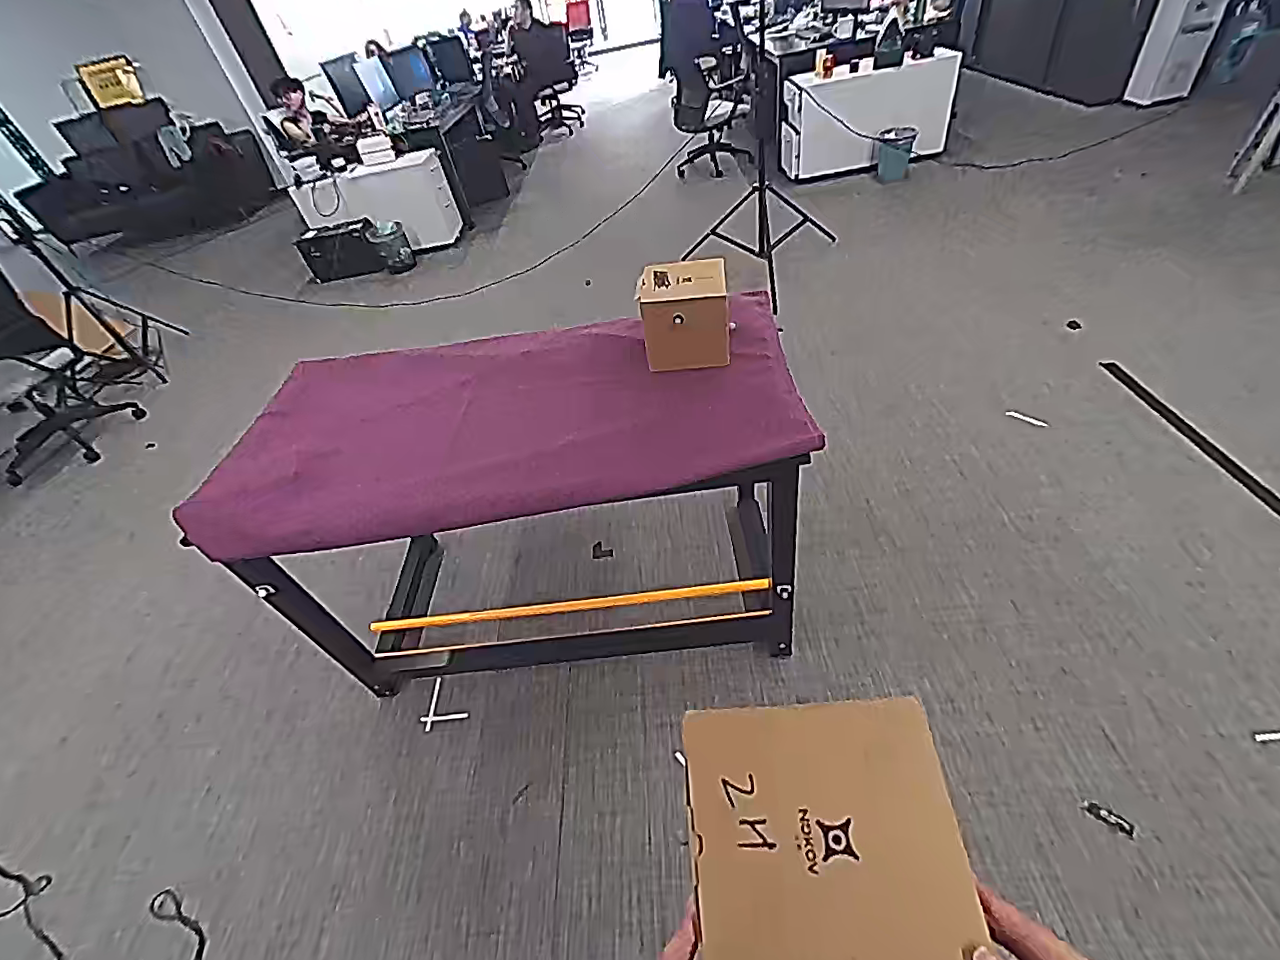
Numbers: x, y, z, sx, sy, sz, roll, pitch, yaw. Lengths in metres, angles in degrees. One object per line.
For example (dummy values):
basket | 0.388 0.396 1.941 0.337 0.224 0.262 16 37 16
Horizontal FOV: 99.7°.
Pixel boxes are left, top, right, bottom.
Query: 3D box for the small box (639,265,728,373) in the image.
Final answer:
small box | 0.101 -0.349 1.187 0.179 0.176 0.168 -3 46 9

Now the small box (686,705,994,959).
small box | 0.130 0.278 0.426 0.179 0.176 0.168 -5 59 5
